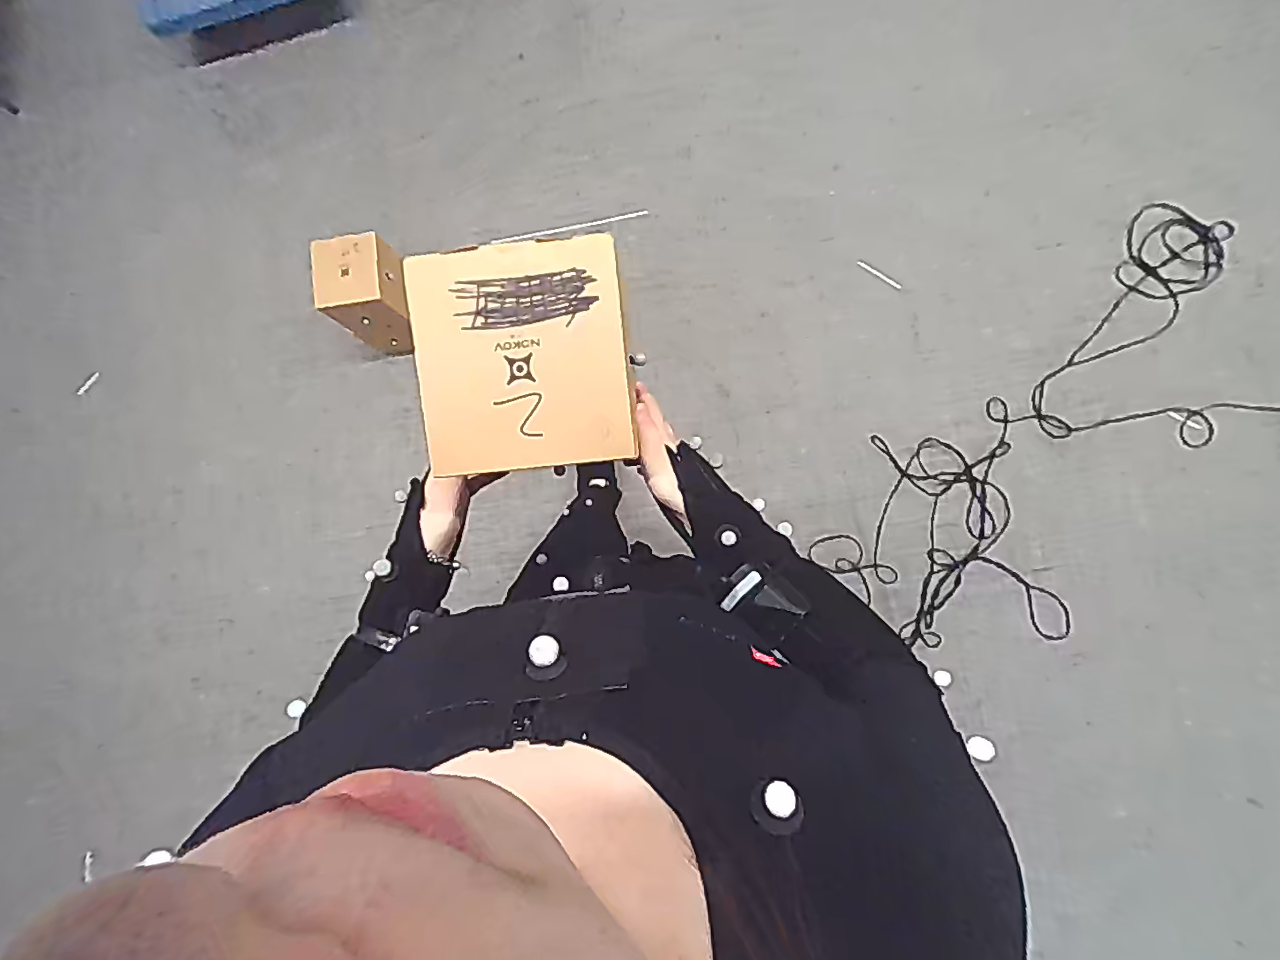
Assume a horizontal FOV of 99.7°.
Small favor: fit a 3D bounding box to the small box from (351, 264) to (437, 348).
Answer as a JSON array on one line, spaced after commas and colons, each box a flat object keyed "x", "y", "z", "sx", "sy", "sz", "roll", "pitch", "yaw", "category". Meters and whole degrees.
[{"x": -0.690, "y": -0.485, "z": 1.526, "sx": 0.179, "sy": 0.176, "sz": 0.168, "roll": -7, "pitch": 84, "yaw": 4, "category": "small box"}]

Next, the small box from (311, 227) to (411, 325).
[{"x": -0.695, "y": -0.503, "z": 1.362, "sx": 0.168, "sy": 0.176, "sz": 0.179, "roll": -7, "pitch": 84, "yaw": 3, "category": "small box"}]
